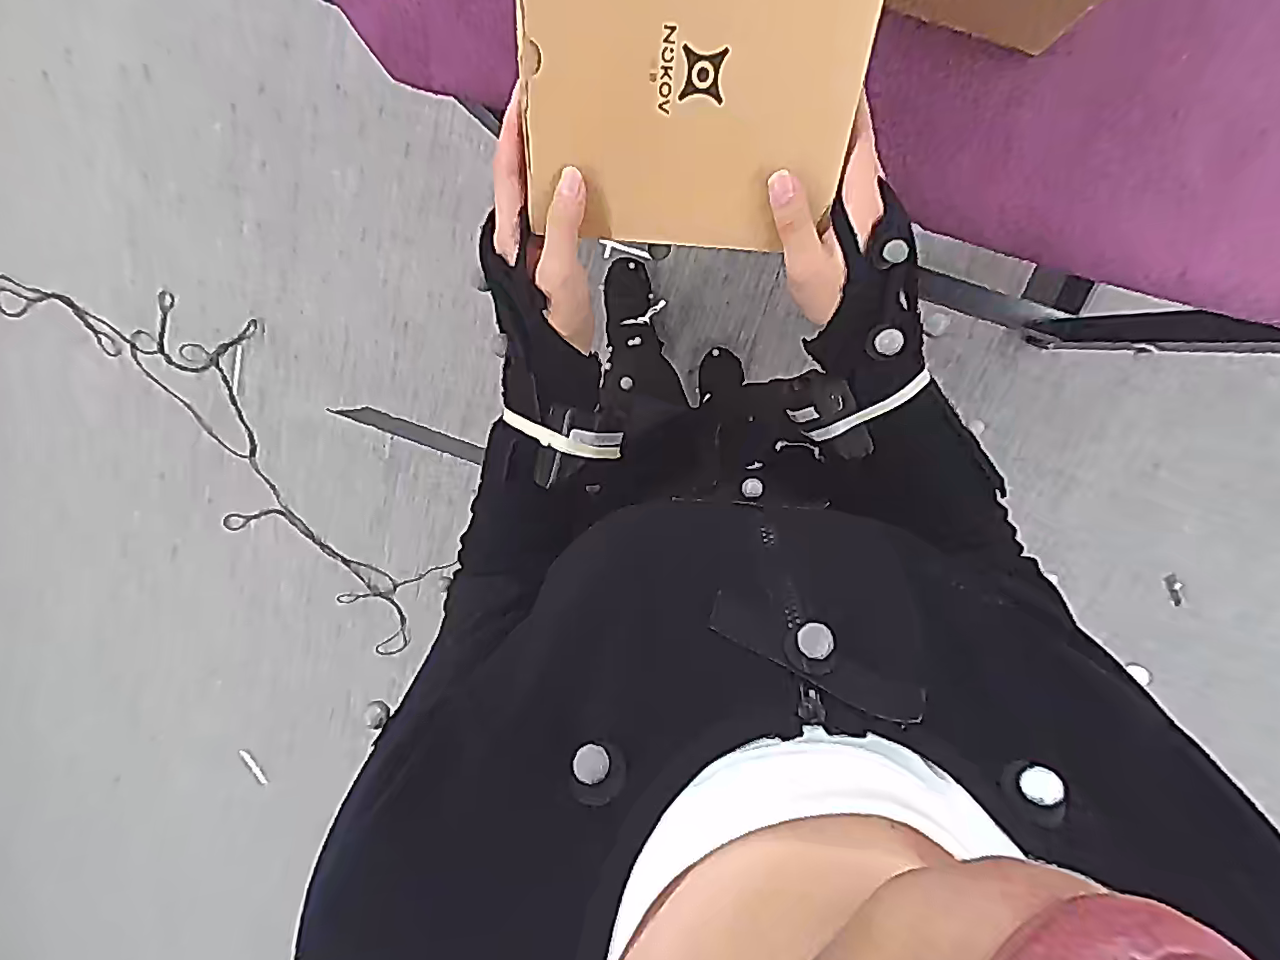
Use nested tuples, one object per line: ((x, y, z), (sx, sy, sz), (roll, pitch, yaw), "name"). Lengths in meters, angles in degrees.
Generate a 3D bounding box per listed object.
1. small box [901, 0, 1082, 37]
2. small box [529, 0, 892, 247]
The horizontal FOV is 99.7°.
((0.289, -0.464, 0.381), (0.179, 0.176, 0.168), (19, 105, 1), "small box")
((0.030, -0.254, 0.334), (0.179, 0.176, 0.168), (3, 124, -3), "small box")
